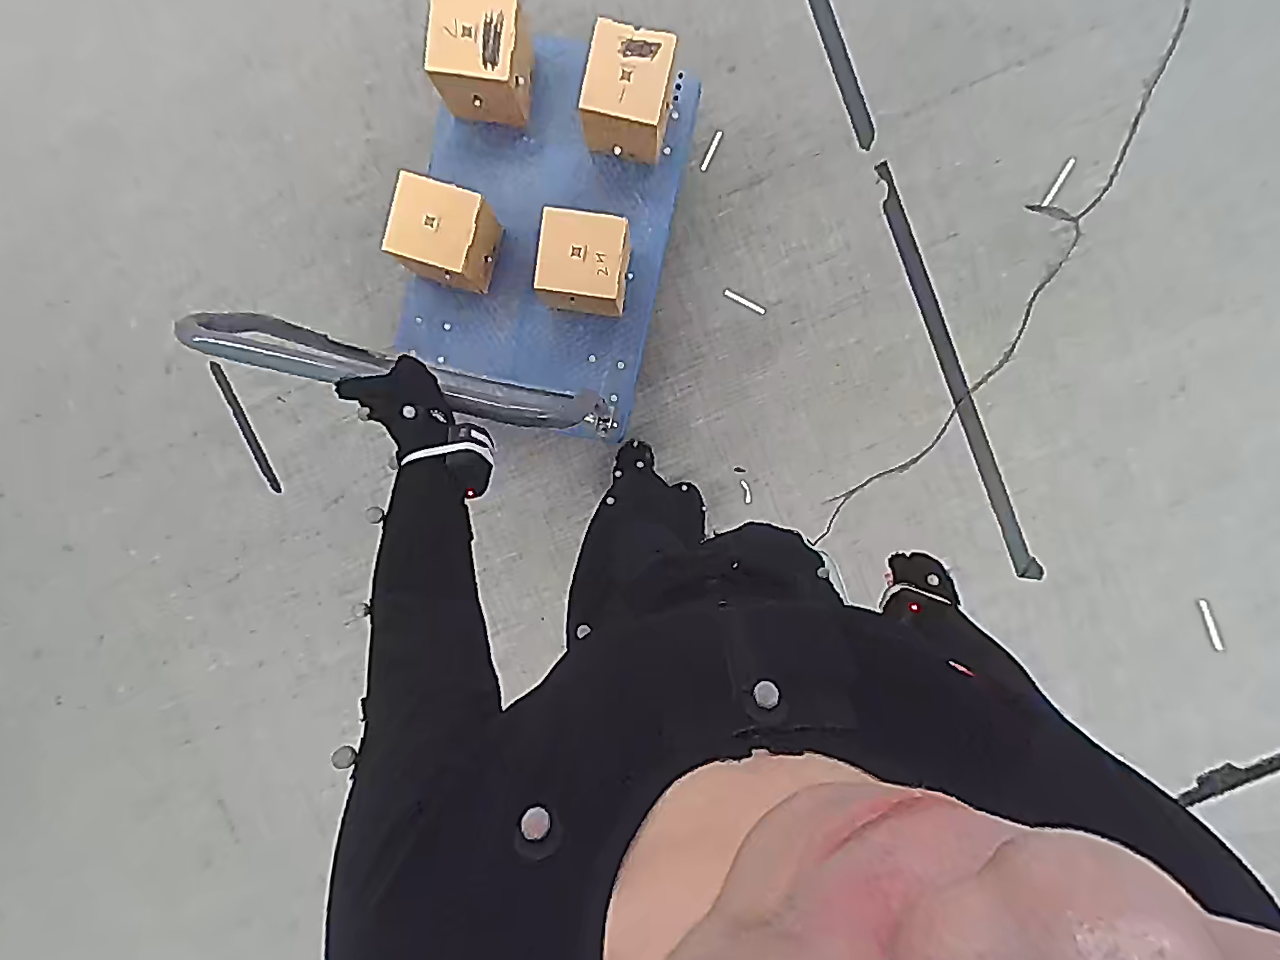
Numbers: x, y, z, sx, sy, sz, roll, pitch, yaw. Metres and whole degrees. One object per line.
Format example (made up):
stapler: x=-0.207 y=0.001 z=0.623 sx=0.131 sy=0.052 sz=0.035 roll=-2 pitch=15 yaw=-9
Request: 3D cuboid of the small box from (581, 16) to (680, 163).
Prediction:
small box: x=-0.019 y=-0.818 z=1.150 sx=0.168 sy=0.176 sz=0.179 roll=14 pitch=96 yaw=0

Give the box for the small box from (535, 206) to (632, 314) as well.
small box: x=-0.117 y=-0.470 z=1.180 sx=0.179 sy=0.176 sz=0.168 roll=9 pitch=95 yaw=0

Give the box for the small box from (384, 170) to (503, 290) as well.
small box: x=-0.420 y=-0.533 z=1.181 sx=0.179 sy=0.176 sz=0.168 roll=16 pitch=94 yaw=-2
